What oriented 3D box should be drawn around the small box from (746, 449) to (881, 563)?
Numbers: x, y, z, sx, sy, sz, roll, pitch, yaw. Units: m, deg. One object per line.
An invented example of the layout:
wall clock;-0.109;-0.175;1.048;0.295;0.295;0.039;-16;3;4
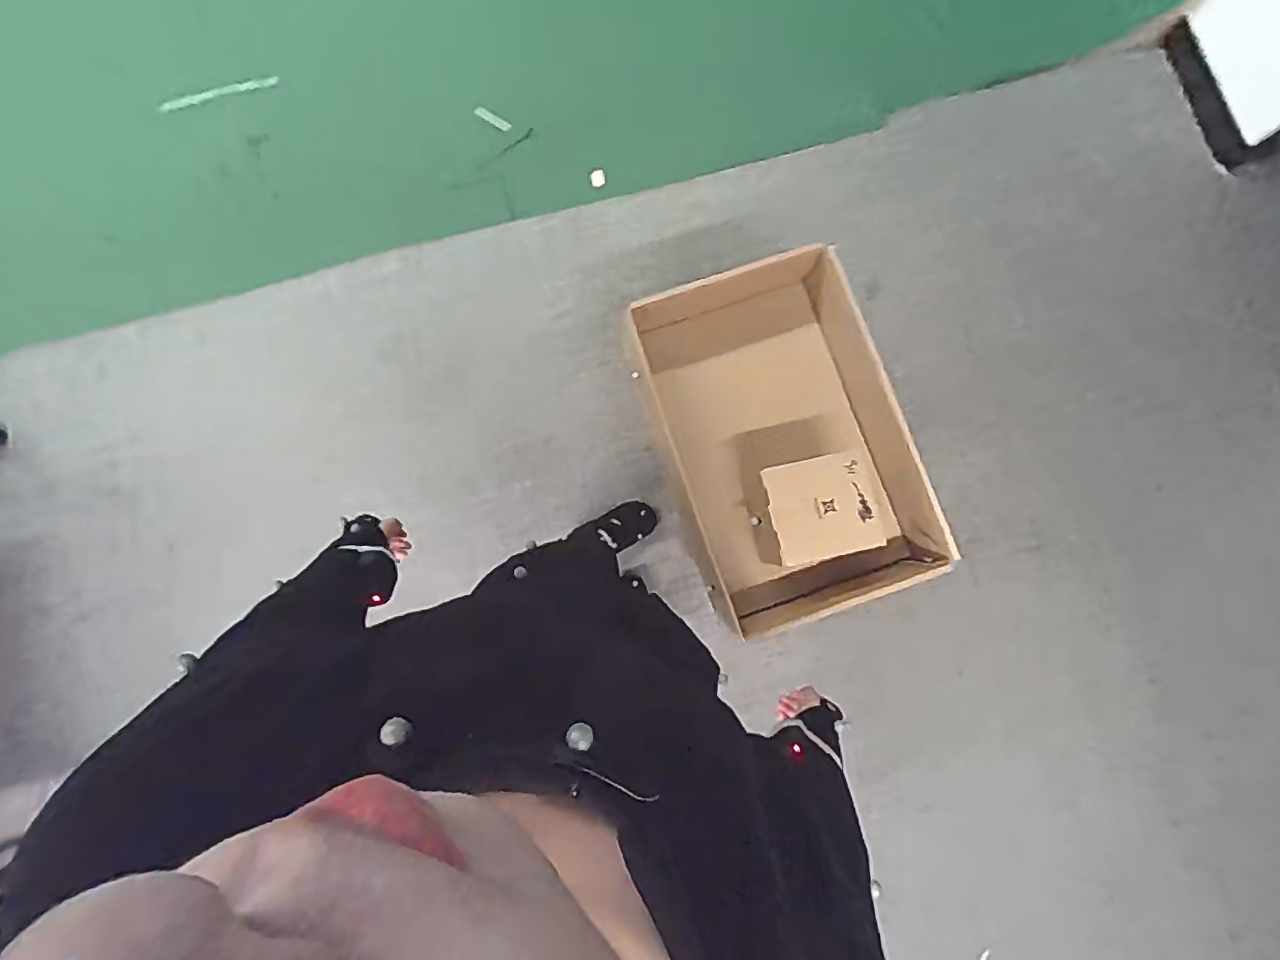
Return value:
small box;0.296;0.050;0.967;0.179;0.176;0.168;-12;85;-1
